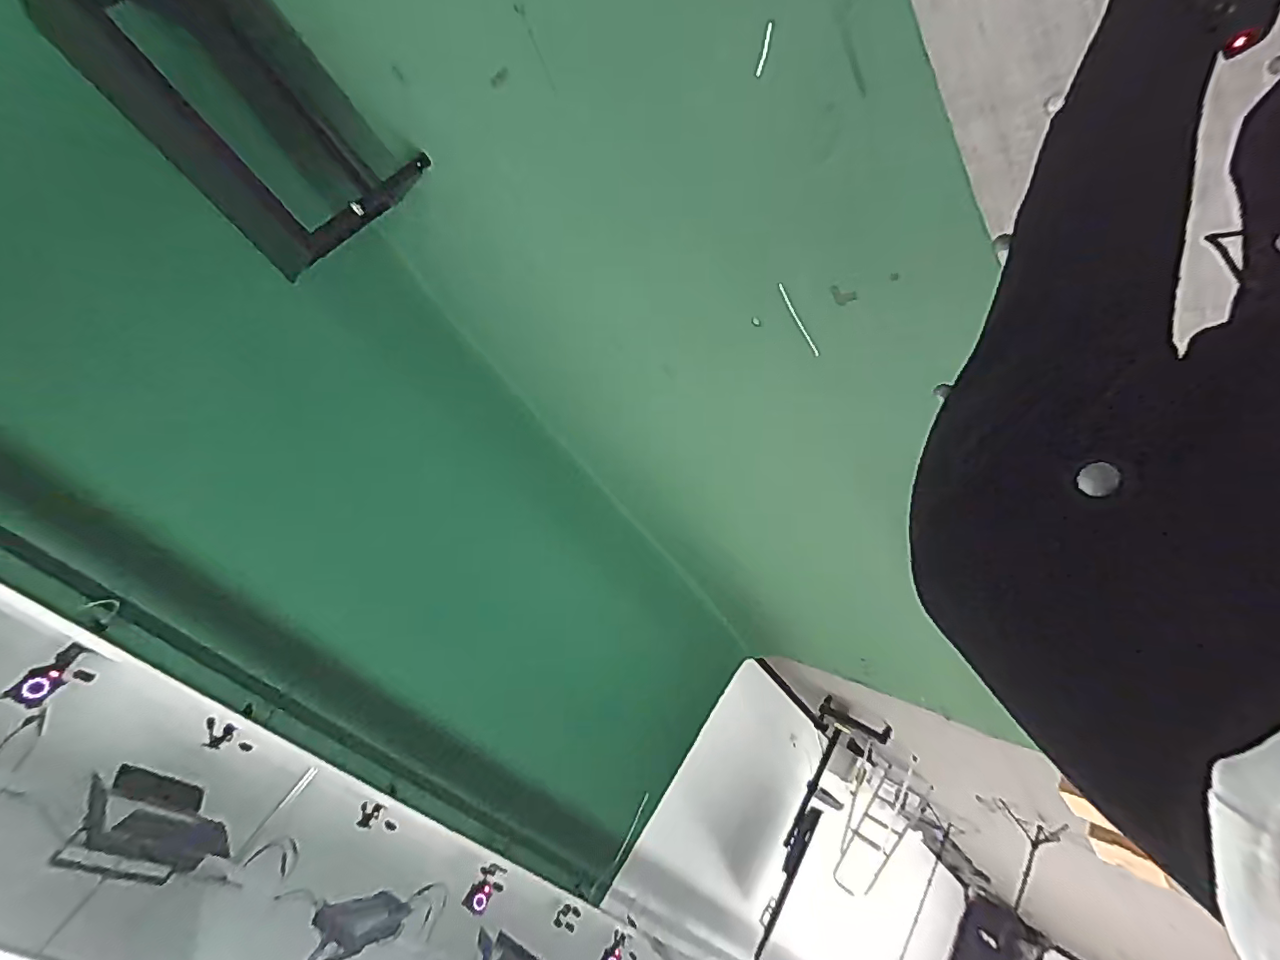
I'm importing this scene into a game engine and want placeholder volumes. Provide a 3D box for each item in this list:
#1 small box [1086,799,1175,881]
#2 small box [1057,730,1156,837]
[{"bbox_3d":[1.476,1.043,1.624,0.168,0.176,0.179,3,137,54],"label":"small box"},{"bbox_3d":[1.288,0.828,1.489,0.179,0.176,0.168,48,154,-26],"label":"small box"}]
